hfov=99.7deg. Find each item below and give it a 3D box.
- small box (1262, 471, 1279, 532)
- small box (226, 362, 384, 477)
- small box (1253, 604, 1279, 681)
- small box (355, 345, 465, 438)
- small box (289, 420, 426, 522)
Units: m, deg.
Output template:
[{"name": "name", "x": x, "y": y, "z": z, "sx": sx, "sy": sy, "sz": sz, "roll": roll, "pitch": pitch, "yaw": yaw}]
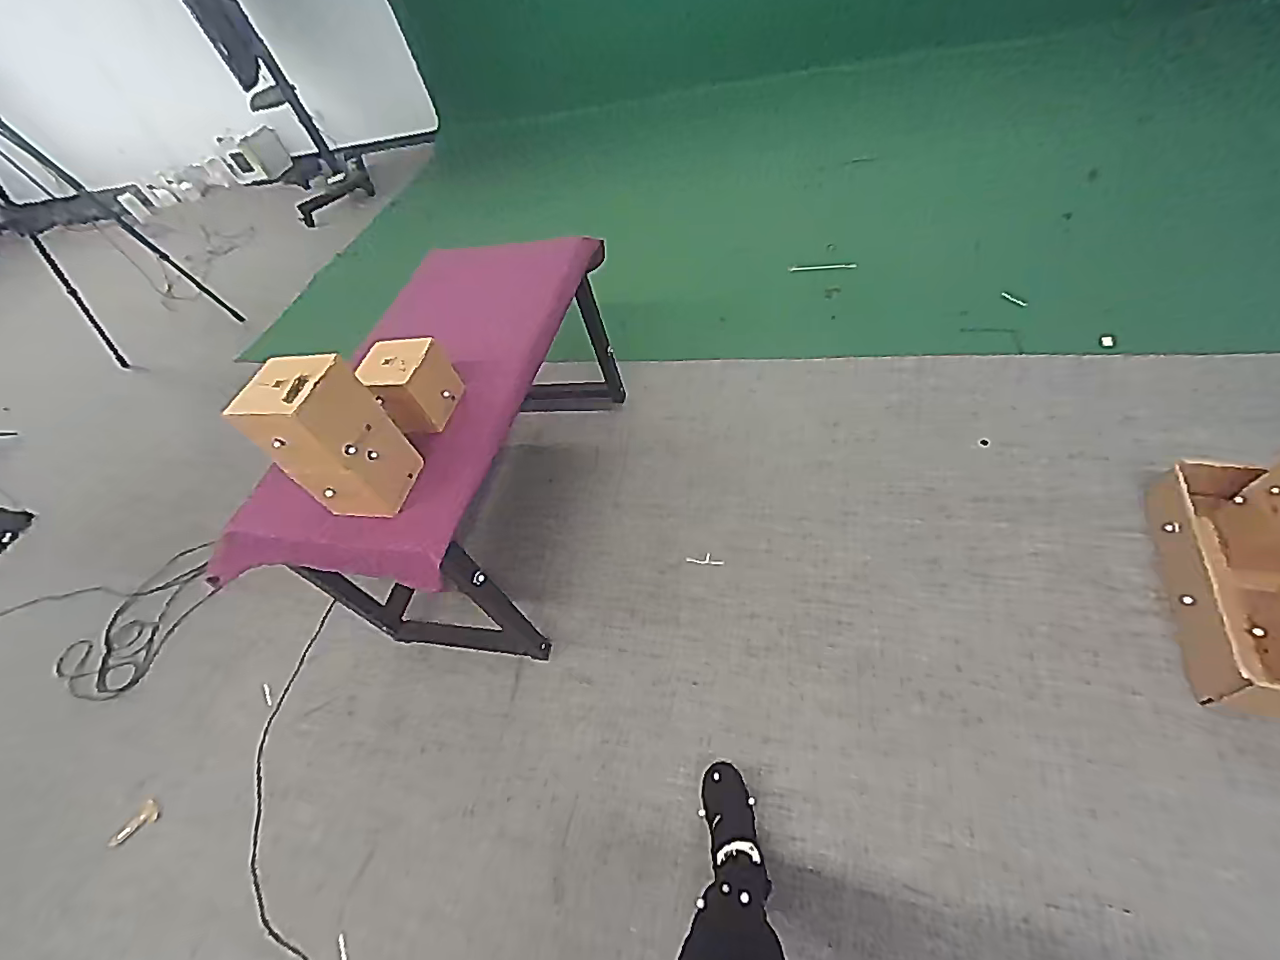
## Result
[{"name": "small box", "x": 1.583, "y": 0.034, "z": 1.210, "sx": 0.179, "sy": 0.176, "sz": 0.168, "roll": 7, "pitch": 56, "yaw": 20}, {"name": "small box", "x": -0.663, "y": -0.119, "z": 1.097, "sx": 0.179, "sy": 0.176, "sz": 0.168, "roll": 1, "pitch": 52, "yaw": 17}, {"name": "small box", "x": 1.530, "y": 0.357, "z": 1.183, "sx": 0.179, "sy": 0.176, "sz": 0.168, "roll": 6, "pitch": 54, "yaw": 21}, {"name": "small box", "x": -0.579, "y": -0.218, "z": 1.366, "sx": 0.179, "sy": 0.176, "sz": 0.168, "roll": 1, "pitch": 53, "yaw": 17}, {"name": "small box", "x": -0.627, "y": -0.017, "z": 1.222, "sx": 0.179, "sy": 0.176, "sz": 0.168, "roll": 1, "pitch": 53, "yaw": 17}]
